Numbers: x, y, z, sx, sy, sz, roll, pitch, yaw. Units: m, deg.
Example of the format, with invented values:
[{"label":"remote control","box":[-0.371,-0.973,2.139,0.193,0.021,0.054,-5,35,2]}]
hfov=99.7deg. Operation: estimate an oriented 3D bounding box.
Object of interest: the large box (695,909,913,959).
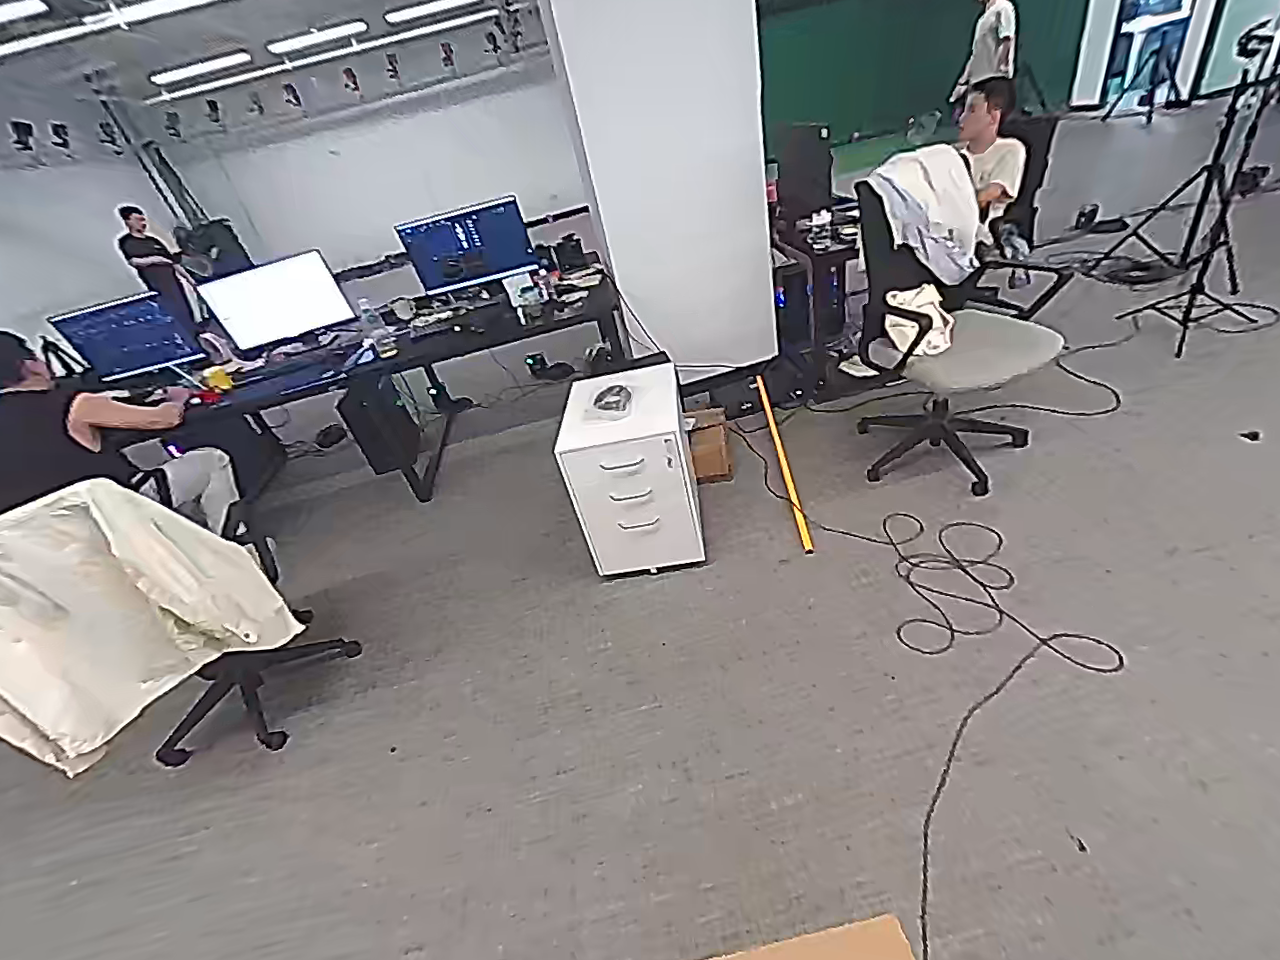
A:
[{"label":"large box","box":[0.265,0.944,0.826,0.408,0.320,0.320,-15,34,1]}]
